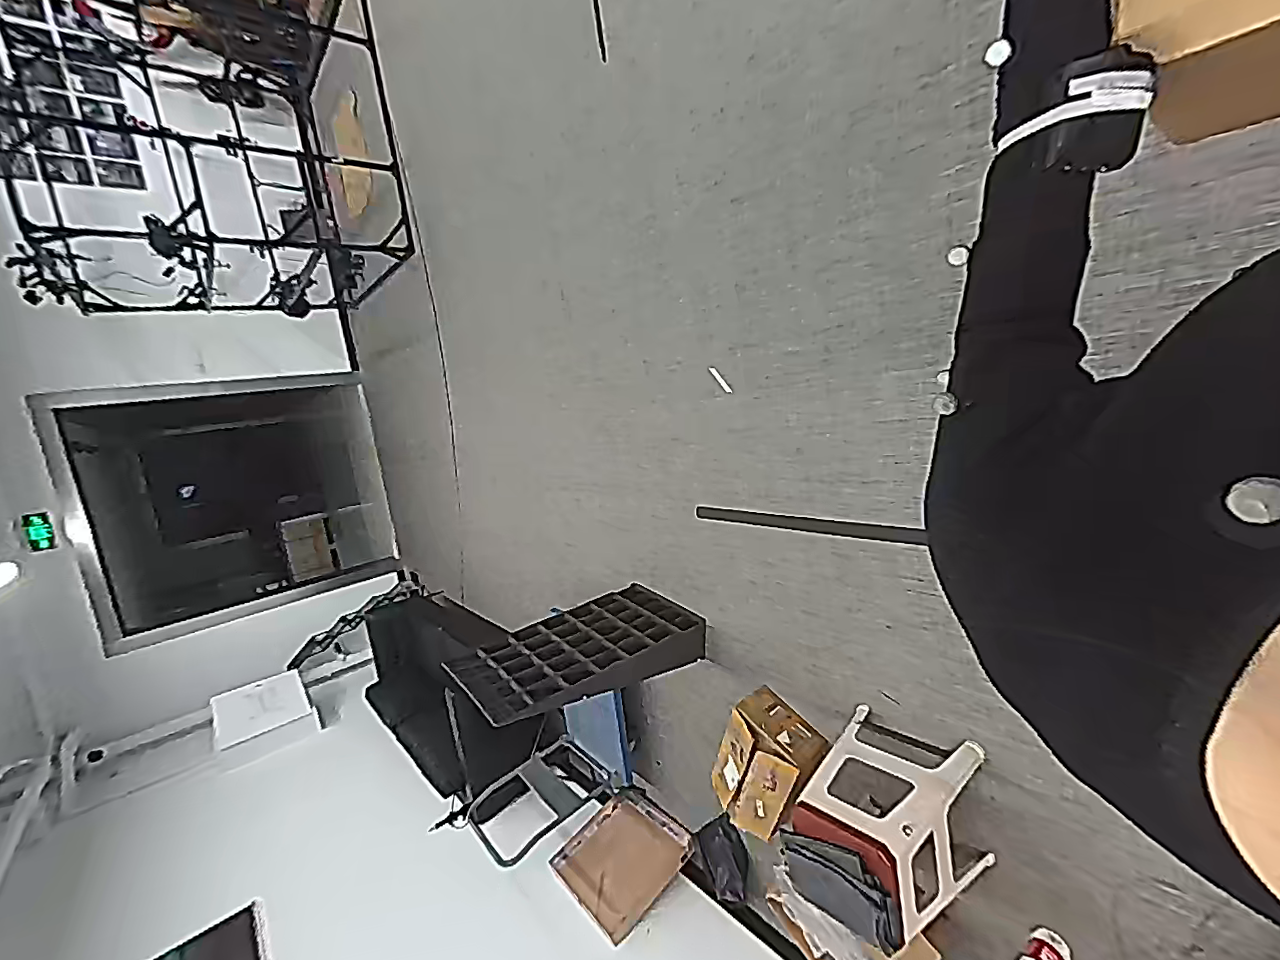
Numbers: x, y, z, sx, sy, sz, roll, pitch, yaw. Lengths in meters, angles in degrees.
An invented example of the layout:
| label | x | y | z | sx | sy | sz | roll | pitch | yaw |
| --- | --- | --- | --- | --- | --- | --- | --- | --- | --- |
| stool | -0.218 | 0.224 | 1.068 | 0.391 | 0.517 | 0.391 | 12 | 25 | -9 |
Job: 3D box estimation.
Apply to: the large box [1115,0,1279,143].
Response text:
| label | x | y | z | sx | sy | sz | roll | pitch | yaw |
| --- | --- | --- | --- | --- | --- | --- | --- | --- | --- |
| large box | 0.550 | -0.453 | 0.297 | 0.408 | 0.320 | 0.320 | 5 | 108 | 49 |
